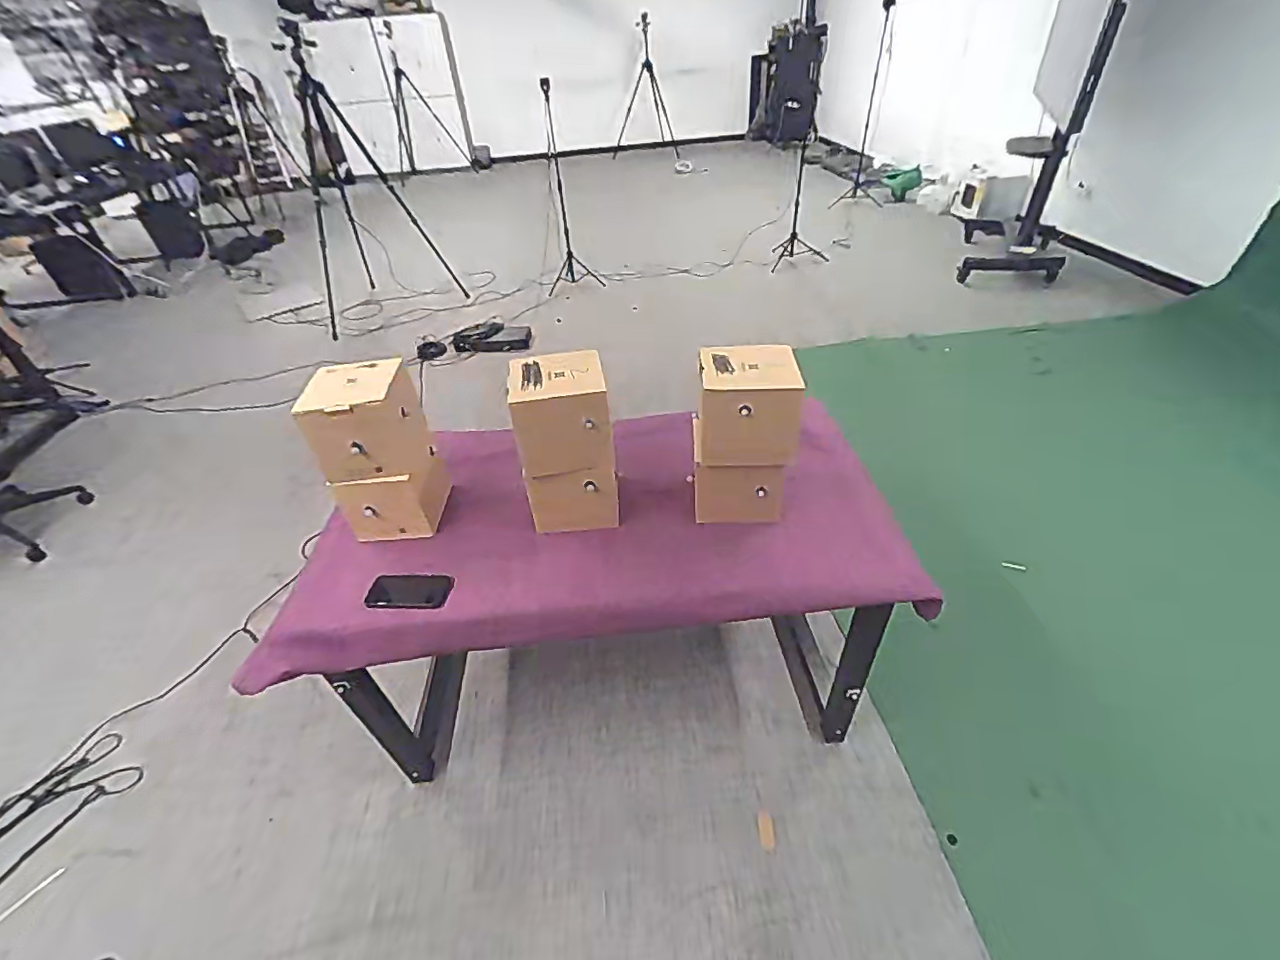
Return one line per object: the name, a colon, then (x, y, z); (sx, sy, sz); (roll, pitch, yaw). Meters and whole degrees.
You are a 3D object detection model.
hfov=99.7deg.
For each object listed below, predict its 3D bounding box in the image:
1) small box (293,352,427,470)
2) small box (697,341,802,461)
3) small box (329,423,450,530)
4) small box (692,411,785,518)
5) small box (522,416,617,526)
small box: (-0.541, -0.132, 1.077); (0.168, 0.176, 0.179); (-7, 41, -3)
small box: (0.199, -0.148, 1.027); (0.179, 0.176, 0.168); (0, 40, 5)
small box: (-0.531, -0.002, 1.177); (0.168, 0.176, 0.179); (-4, 40, 1)
small box: (0.200, -0.033, 1.145); (0.179, 0.176, 0.168); (-1, 40, 6)
small box: (-0.140, -0.018, 1.157); (0.179, 0.176, 0.168); (-4, 40, 1)
